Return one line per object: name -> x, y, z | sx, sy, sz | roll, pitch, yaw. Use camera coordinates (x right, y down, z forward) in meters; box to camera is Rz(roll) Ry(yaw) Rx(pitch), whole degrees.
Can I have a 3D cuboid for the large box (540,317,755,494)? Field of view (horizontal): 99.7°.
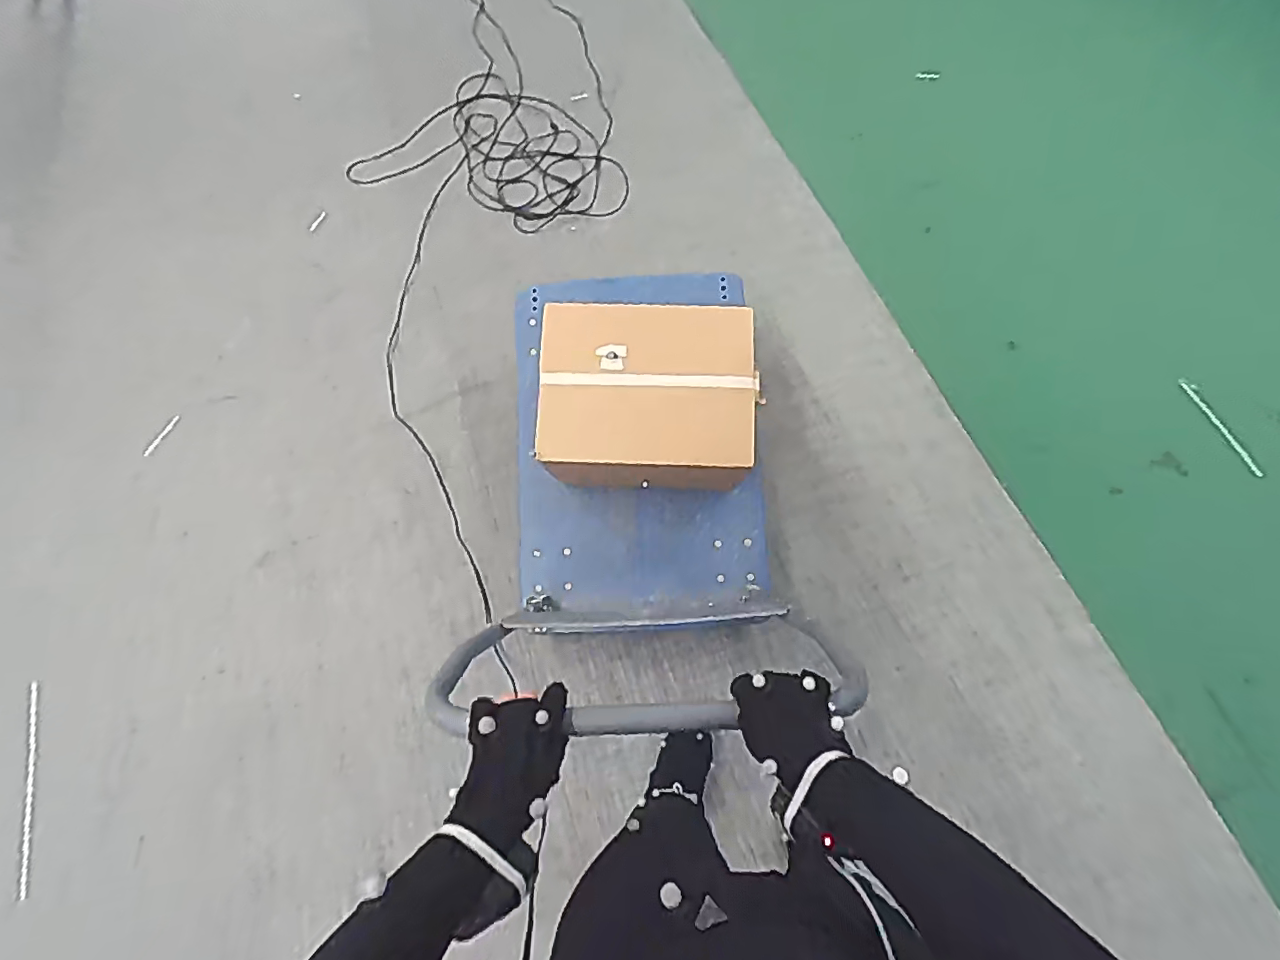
large box -> 0.024, -0.139, 1.161 | 0.408, 0.320, 0.320 | 2, 80, 3
